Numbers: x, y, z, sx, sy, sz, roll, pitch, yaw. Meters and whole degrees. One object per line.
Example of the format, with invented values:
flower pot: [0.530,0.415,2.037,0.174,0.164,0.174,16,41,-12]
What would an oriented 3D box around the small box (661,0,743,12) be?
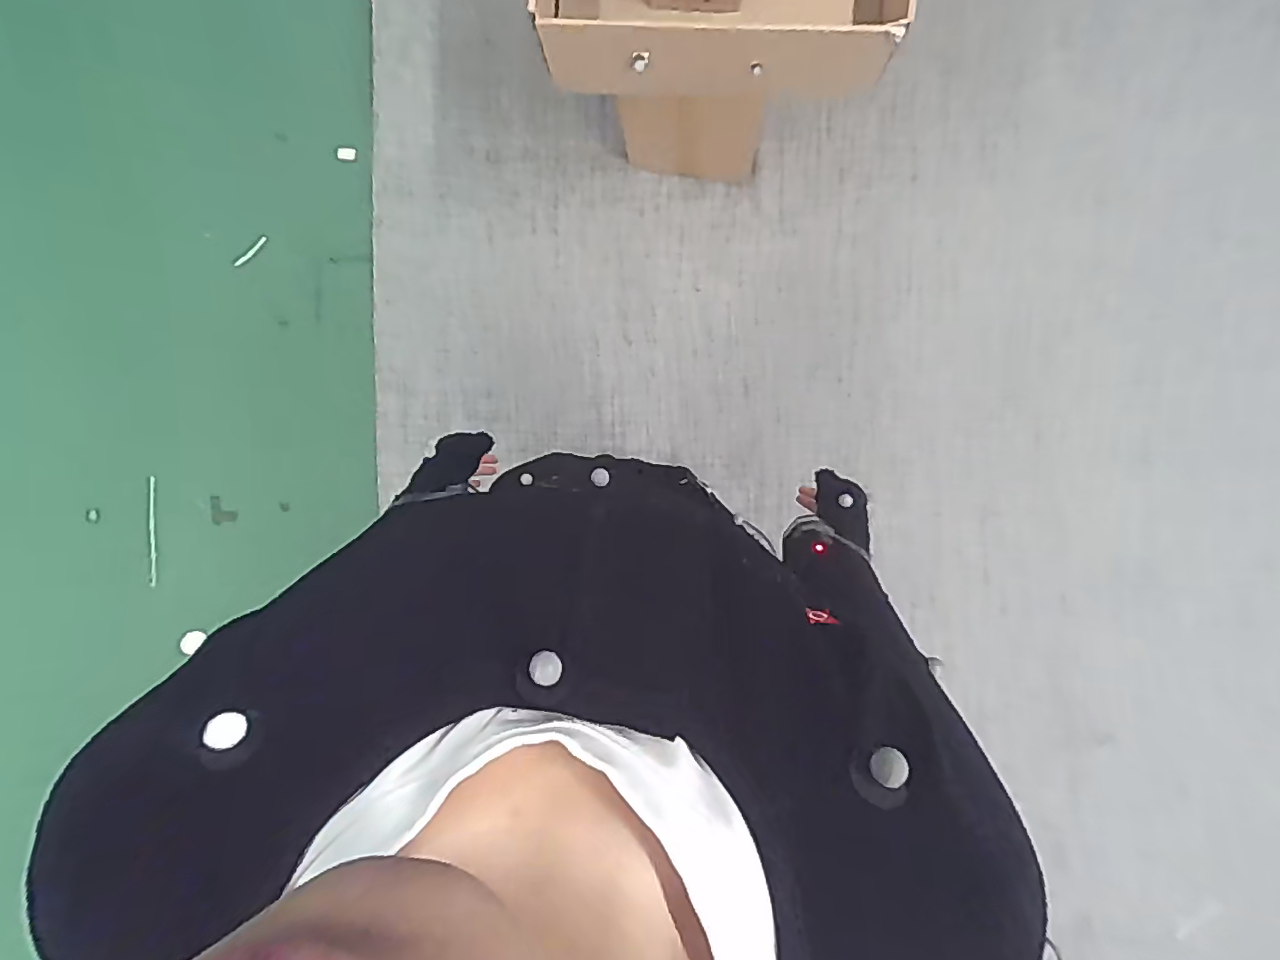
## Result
small box: [0.110,-0.945,0.914,0.168,0.176,0.179,3,91,0]
